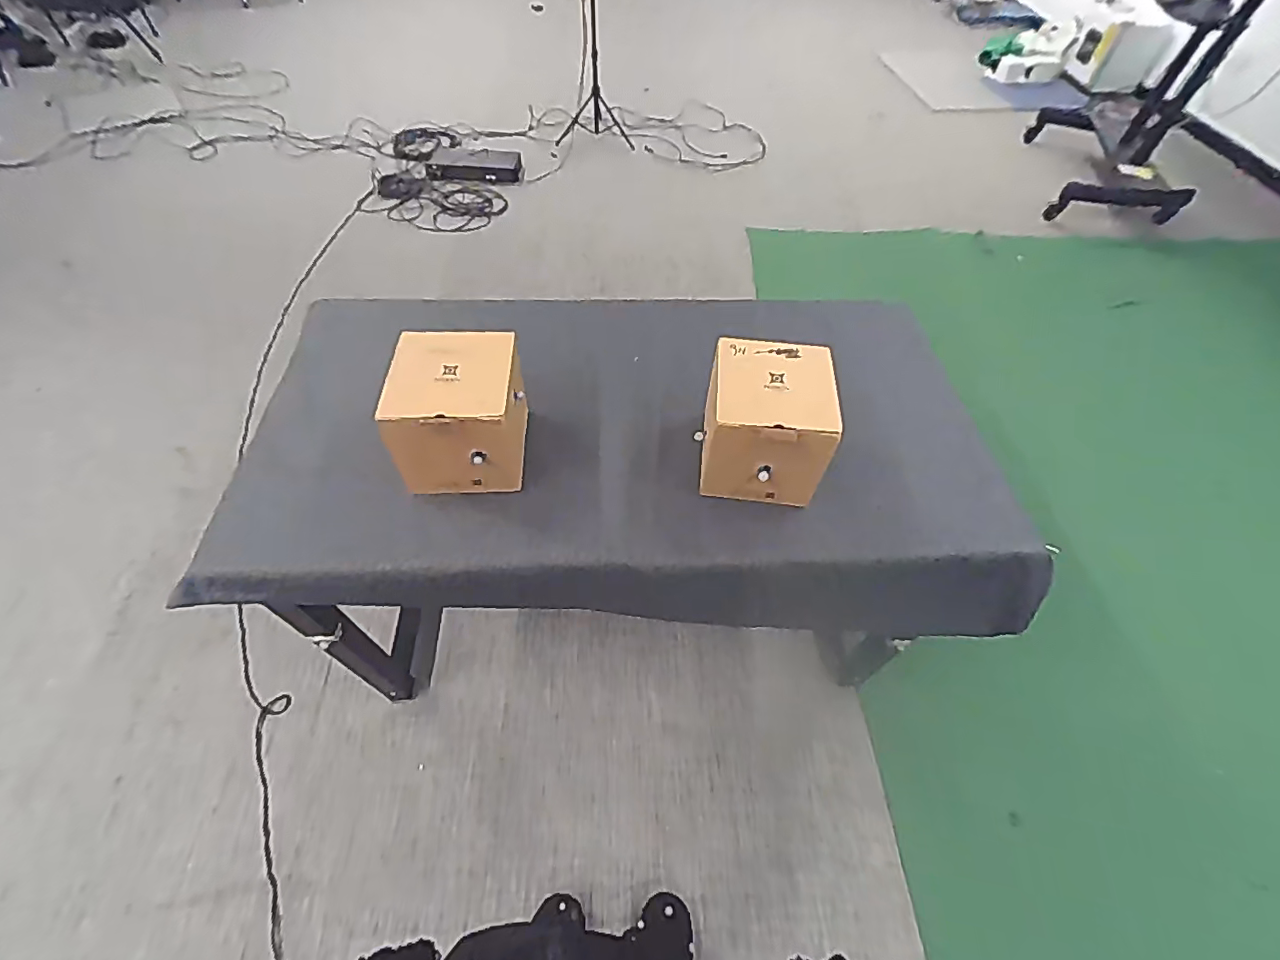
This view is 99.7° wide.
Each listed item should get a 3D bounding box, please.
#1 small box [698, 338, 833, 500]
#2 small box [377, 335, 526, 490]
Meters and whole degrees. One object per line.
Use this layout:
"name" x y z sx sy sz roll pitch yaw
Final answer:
"small box" 0.180 -0.088 0.819 0.168 0.176 0.179 6 55 2
"small box" -0.268 -0.096 0.816 0.168 0.176 0.179 -2 53 -5
